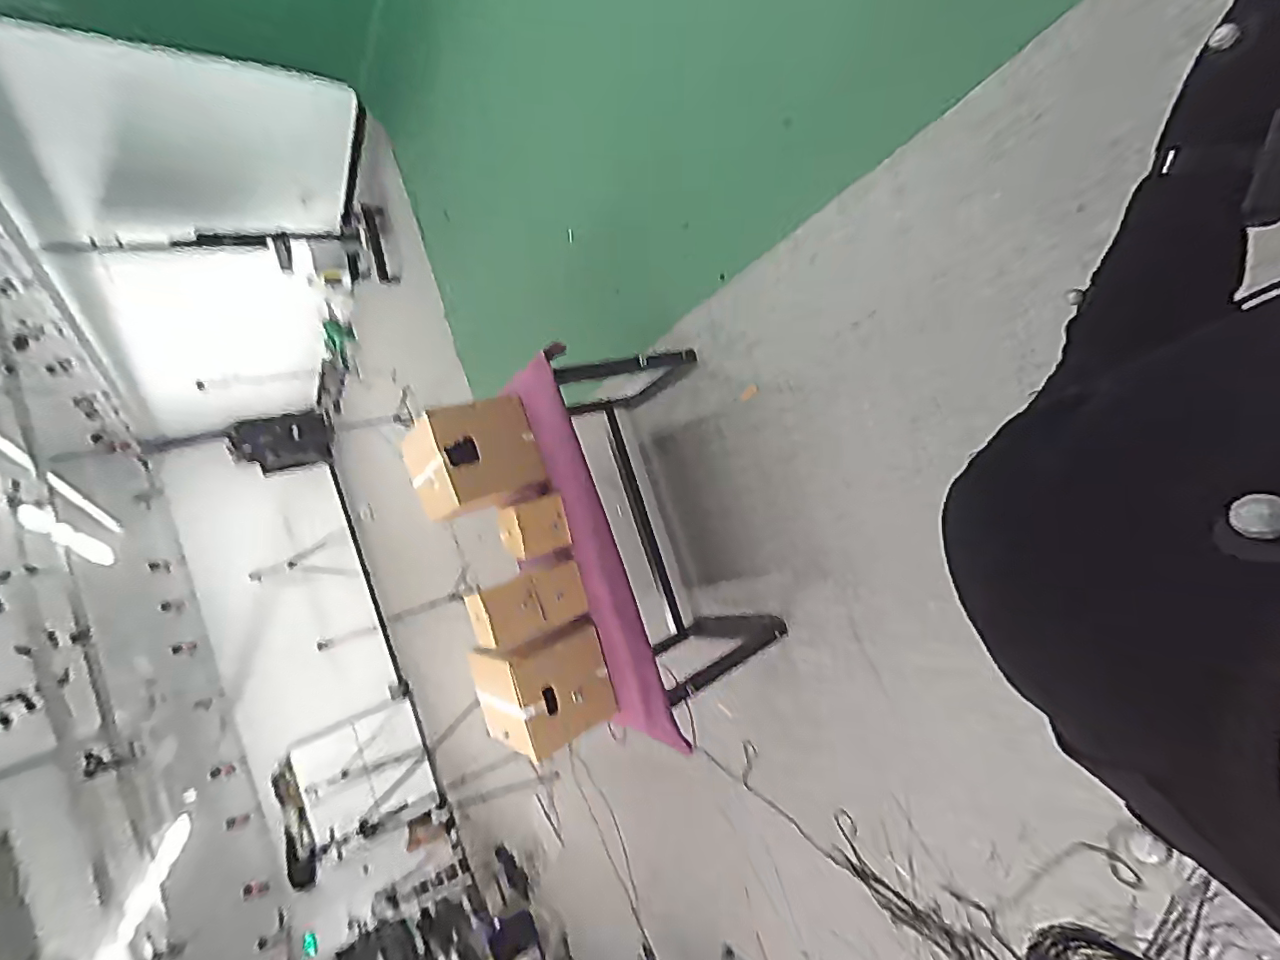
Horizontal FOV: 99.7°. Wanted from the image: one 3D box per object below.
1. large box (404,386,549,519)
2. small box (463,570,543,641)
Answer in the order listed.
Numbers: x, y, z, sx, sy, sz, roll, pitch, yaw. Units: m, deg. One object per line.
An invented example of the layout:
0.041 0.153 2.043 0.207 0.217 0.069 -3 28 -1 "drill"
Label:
-0.568 -0.089 1.848 0.408 0.320 0.320 -22 88 53 "large box"
-0.425 0.387 1.684 0.179 0.176 0.168 -20 88 54 "small box"
